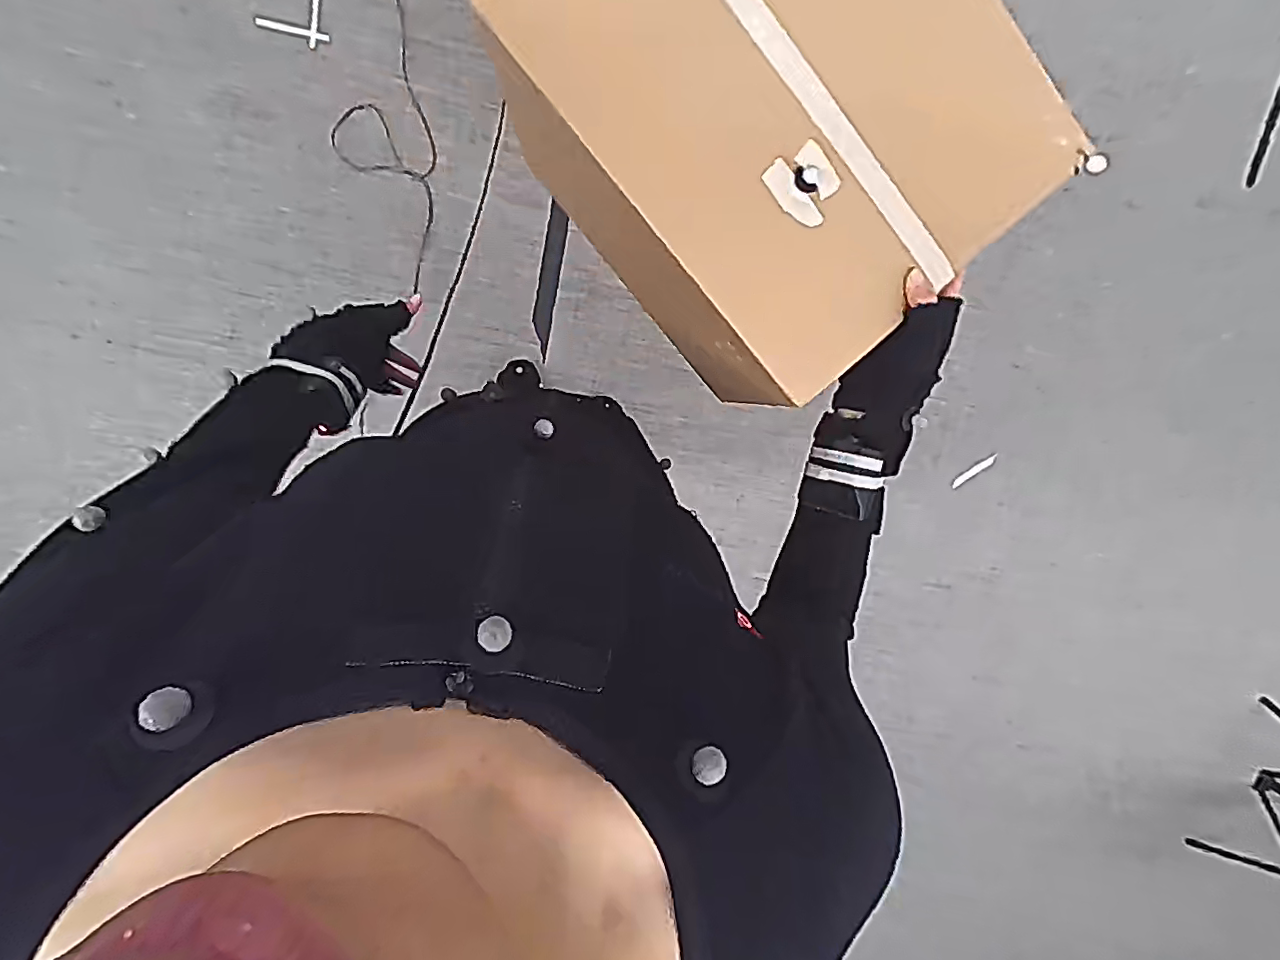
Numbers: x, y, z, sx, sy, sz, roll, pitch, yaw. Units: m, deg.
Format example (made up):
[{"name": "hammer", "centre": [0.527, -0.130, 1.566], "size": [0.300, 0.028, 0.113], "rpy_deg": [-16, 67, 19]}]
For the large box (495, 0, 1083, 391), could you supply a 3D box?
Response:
[{"name": "large box", "centre": [0.119, -0.343, 0.575], "size": [0.320, 0.320, 0.408], "rpy_deg": [-40, 100, 4]}]
